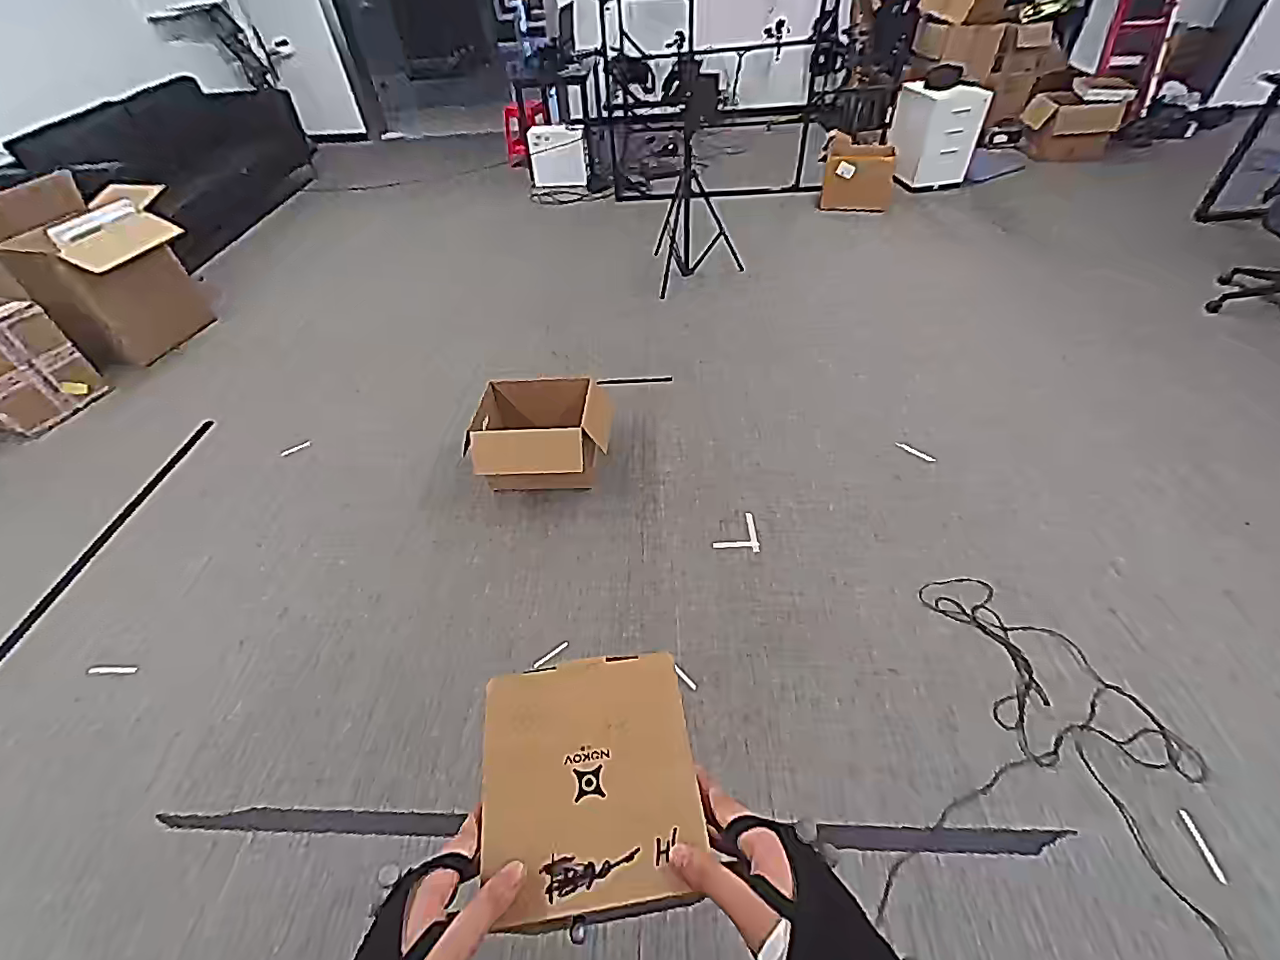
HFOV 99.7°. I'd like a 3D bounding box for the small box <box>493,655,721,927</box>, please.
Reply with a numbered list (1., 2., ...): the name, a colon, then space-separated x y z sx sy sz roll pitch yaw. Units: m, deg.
1. small box: -0.031 0.285 0.495 0.168 0.176 0.179 -6 50 -4
